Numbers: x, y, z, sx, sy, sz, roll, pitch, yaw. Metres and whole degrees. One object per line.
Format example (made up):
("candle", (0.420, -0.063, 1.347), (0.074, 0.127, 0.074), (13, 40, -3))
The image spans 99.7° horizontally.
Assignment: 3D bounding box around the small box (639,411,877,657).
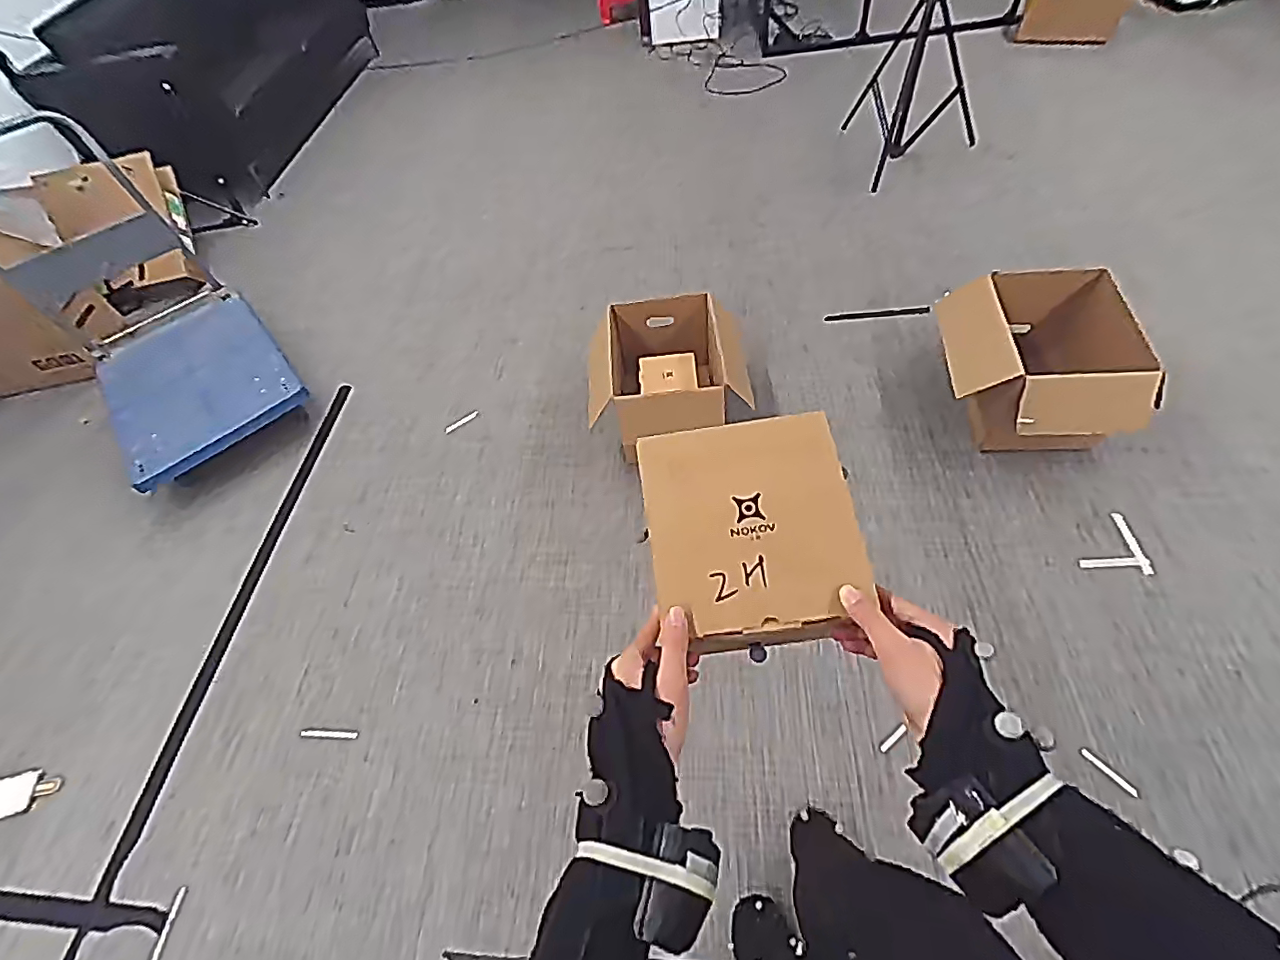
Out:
("small box", (0.093, 0.060, 0.508), (0.168, 0.176, 0.179), (-8, 66, 3))
